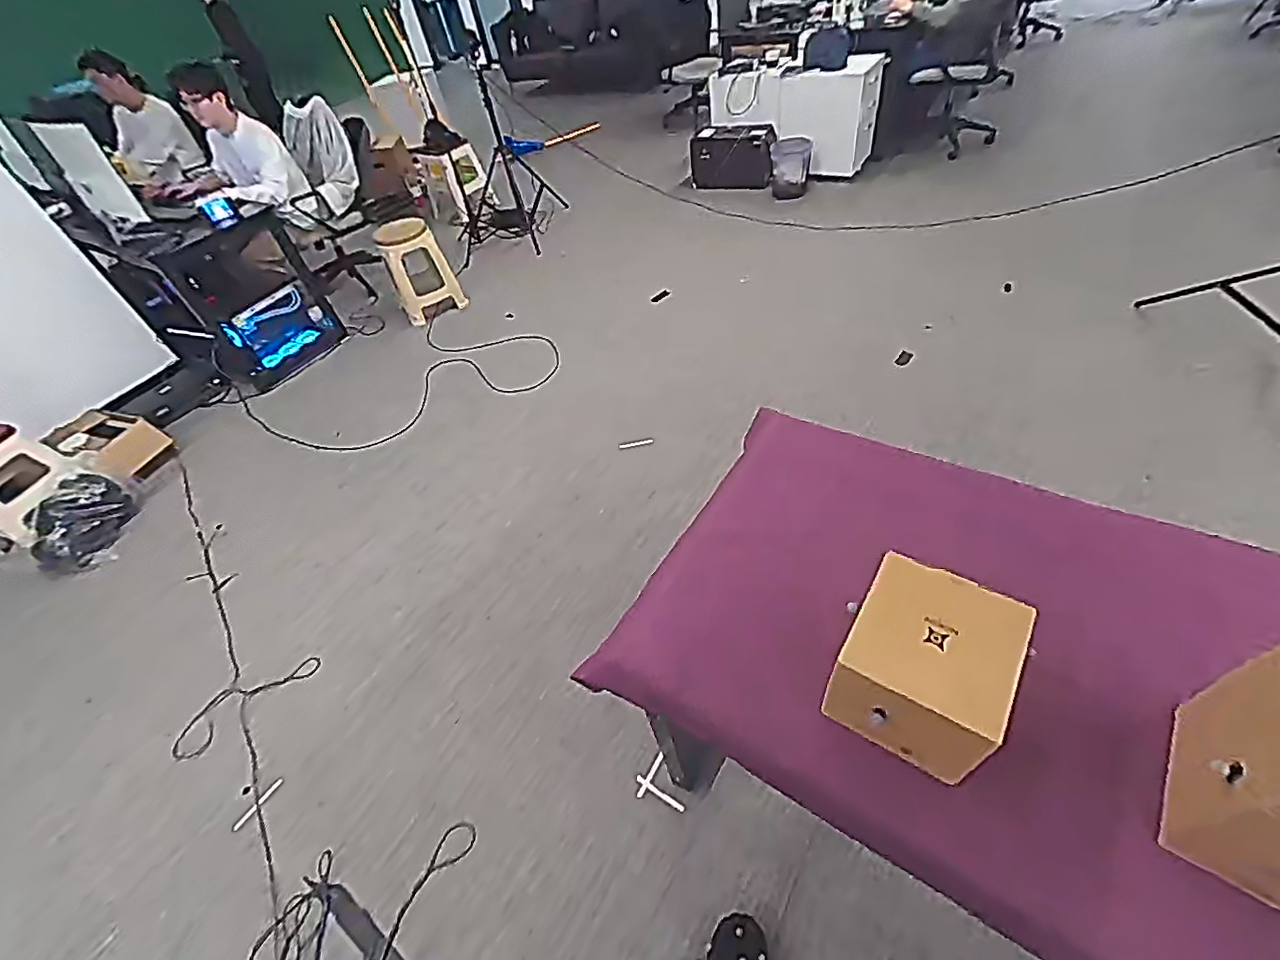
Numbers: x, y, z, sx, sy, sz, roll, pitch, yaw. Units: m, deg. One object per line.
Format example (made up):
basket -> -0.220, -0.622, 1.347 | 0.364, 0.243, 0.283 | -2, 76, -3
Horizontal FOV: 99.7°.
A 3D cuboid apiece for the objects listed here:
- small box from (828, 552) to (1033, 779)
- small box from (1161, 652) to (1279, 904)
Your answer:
small box -> 0.344, 0.228, 0.665 | 0.168, 0.176, 0.179 | 23, 54, 28
small box -> 0.659, 0.312, 0.525 | 0.168, 0.176, 0.179 | 25, 56, 29
